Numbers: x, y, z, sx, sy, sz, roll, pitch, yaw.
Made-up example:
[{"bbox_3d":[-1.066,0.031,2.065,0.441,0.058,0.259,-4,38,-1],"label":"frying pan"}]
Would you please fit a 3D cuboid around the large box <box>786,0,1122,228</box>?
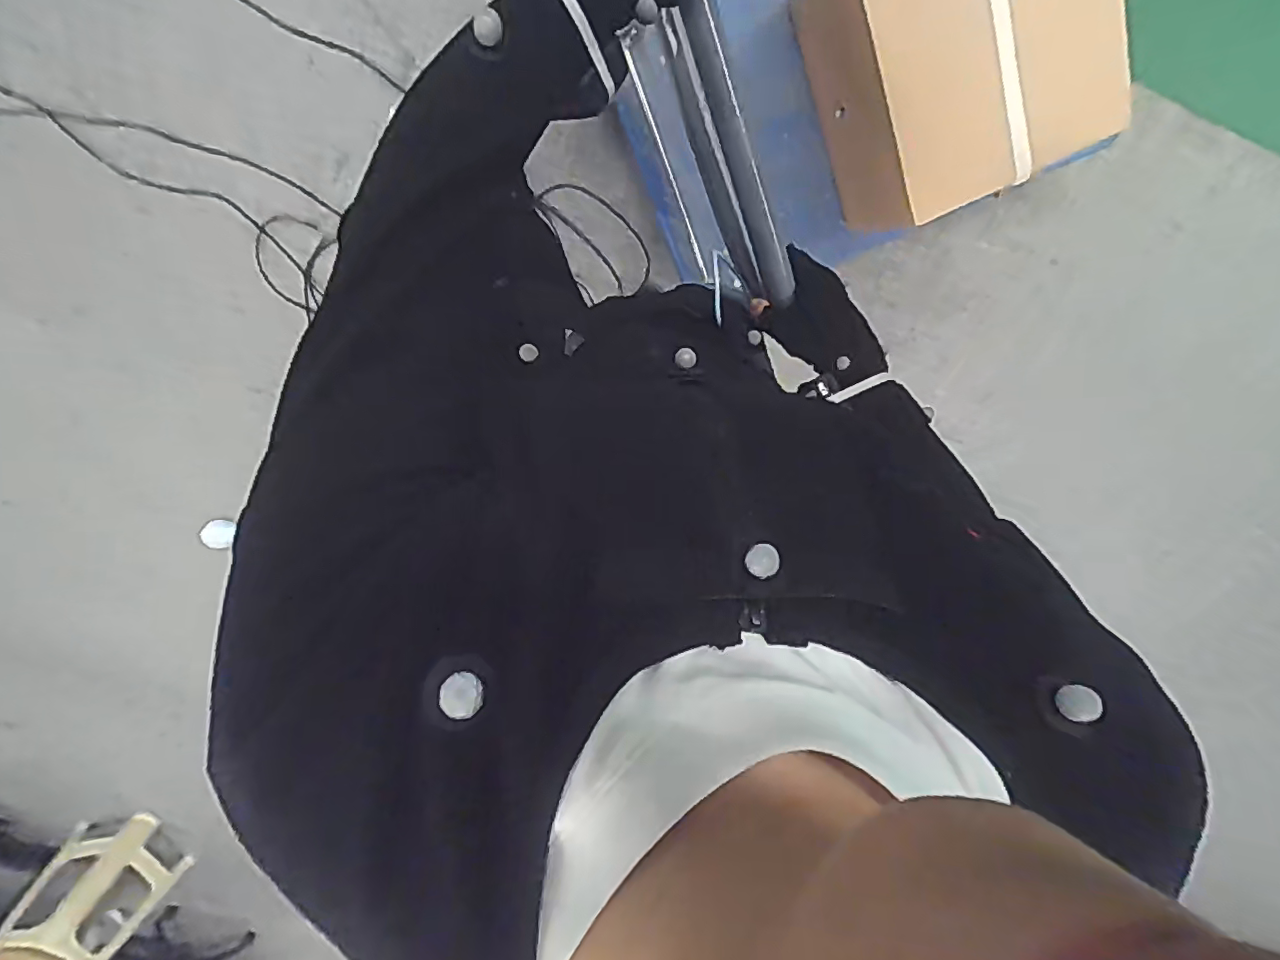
[{"bbox_3d":[0.475,-0.676,0.873,0.320,0.320,0.408,-23,111,10],"label":"large box"}]
